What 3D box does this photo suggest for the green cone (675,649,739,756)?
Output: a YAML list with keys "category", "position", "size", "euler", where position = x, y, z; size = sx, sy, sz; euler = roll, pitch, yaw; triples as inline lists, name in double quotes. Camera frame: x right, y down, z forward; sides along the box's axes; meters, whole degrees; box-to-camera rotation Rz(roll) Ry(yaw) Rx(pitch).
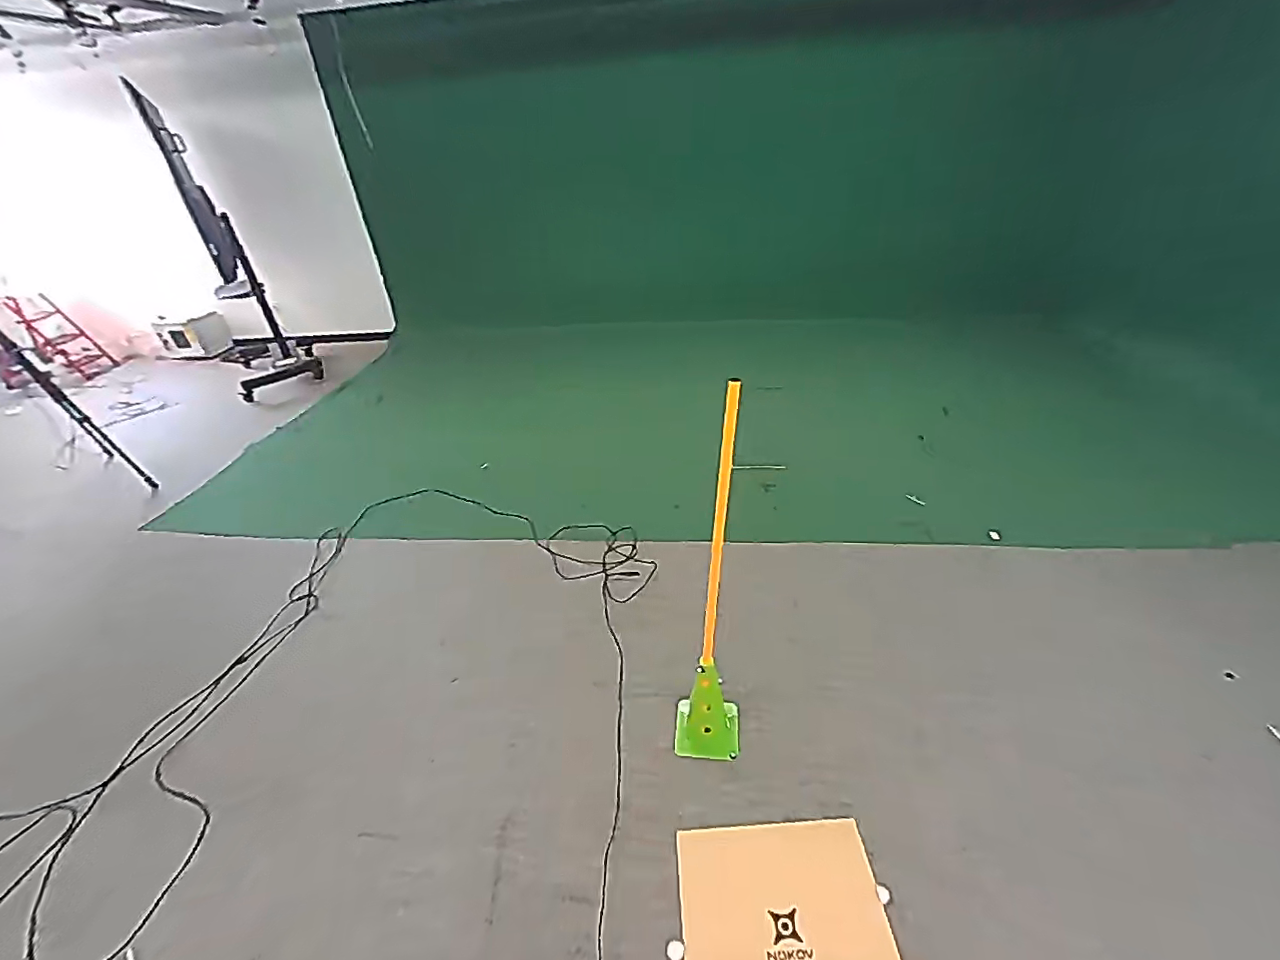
- category: "green cone"
  position: [0.202, 0.652, 1.660]
  size: [0.202, 0.368, 0.200]
  euler: [0, 33, 9]
